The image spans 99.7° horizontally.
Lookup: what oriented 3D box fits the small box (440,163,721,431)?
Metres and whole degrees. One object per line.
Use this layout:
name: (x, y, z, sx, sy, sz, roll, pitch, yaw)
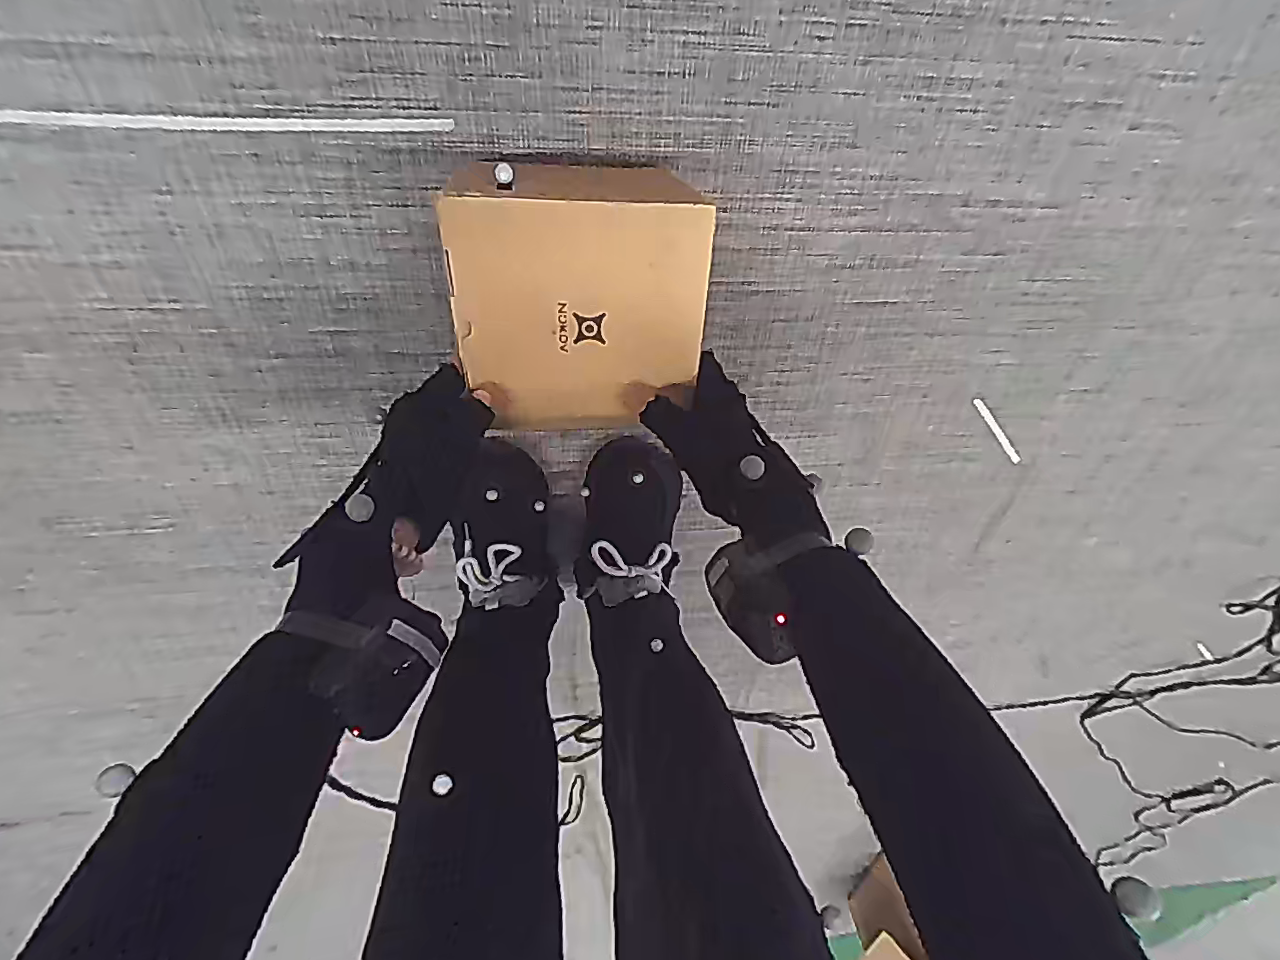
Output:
small box: (-0.047, -0.154, 0.441, 0.179, 0.176, 0.168, -1, 127, -6)
